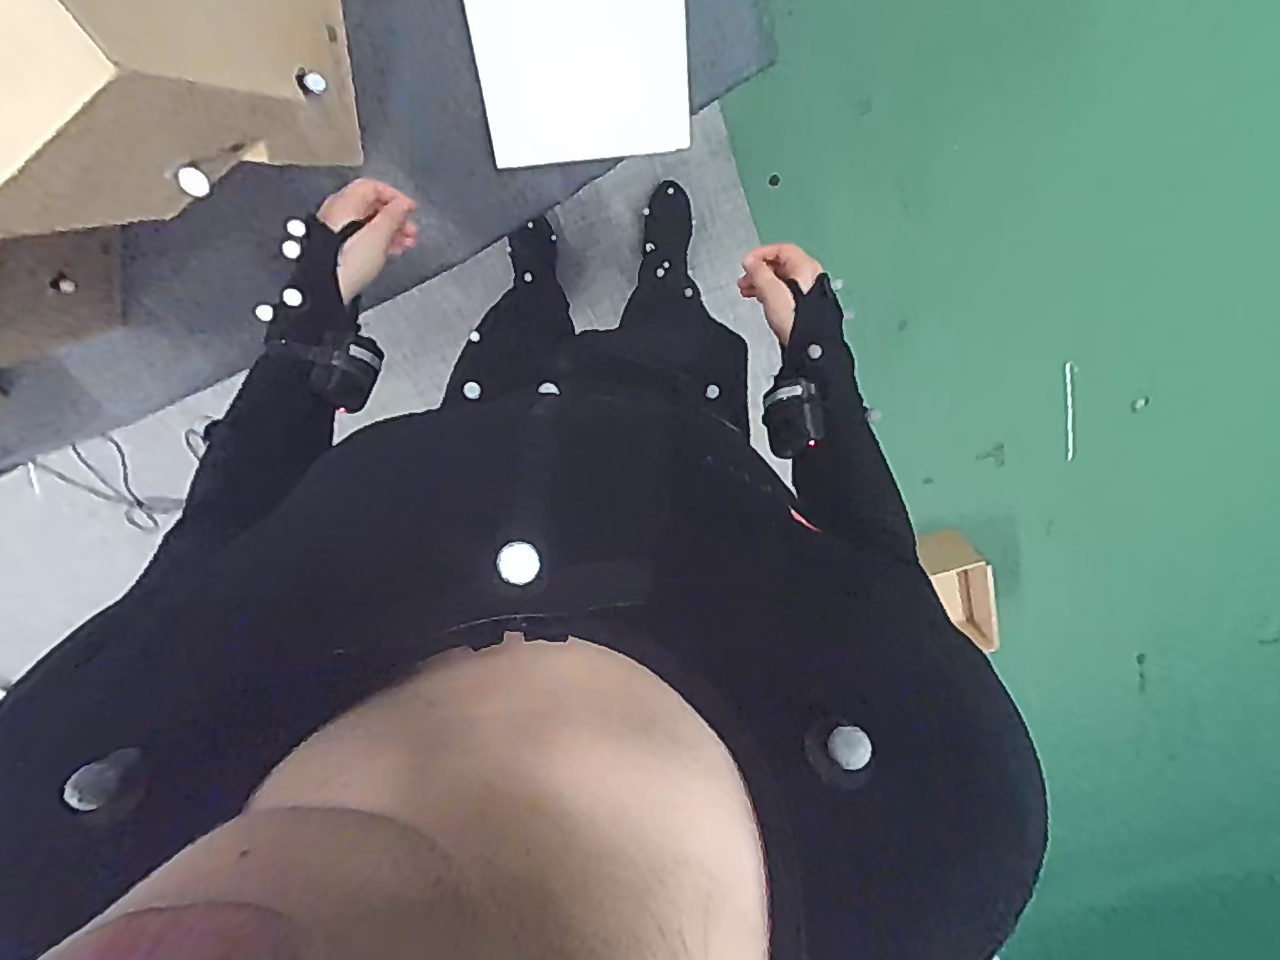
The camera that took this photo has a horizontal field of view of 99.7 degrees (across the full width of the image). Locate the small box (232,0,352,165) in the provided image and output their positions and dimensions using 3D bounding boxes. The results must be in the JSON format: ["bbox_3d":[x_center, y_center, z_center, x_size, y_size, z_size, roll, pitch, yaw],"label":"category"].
[{"bbox_3d":[-0.366,-0.368,0.449,0.179,0.176,0.168,5,121,-1],"label":"small box"}]

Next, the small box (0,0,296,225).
[{"bbox_3d":[-0.361,-0.271,0.315,0.168,0.176,0.179,-24,118,16],"label":"small box"}]

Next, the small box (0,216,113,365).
[{"bbox_3d":[-0.674,-0.240,0.530,0.179,0.176,0.168,23,118,-13],"label":"small box"}]
